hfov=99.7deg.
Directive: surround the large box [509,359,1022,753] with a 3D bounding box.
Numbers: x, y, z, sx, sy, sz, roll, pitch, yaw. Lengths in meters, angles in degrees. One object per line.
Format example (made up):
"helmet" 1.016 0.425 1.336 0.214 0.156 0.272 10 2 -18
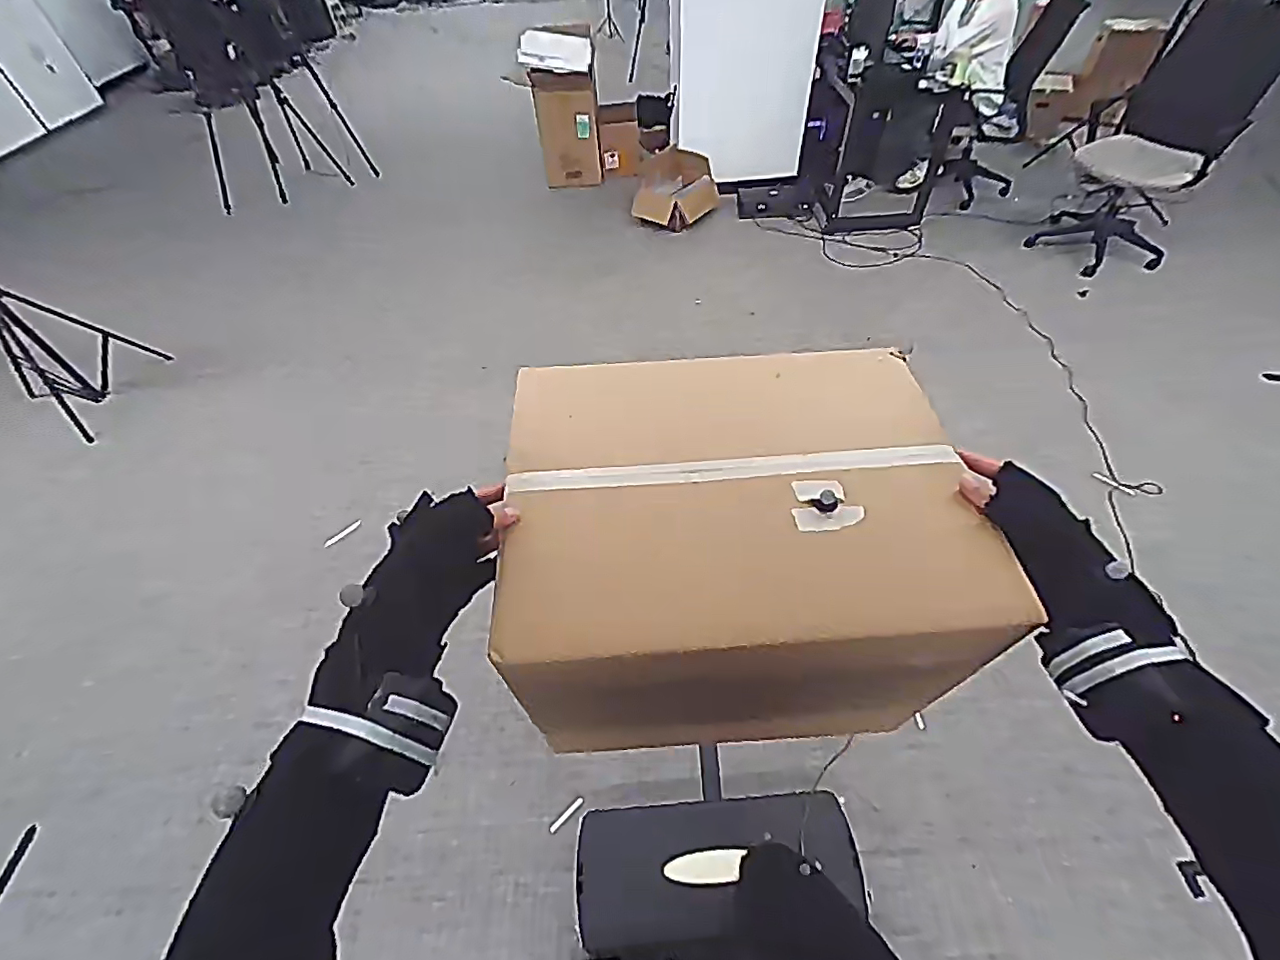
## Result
"large box" 0.086 0.092 0.613 0.408 0.320 0.320 -4 52 -2
